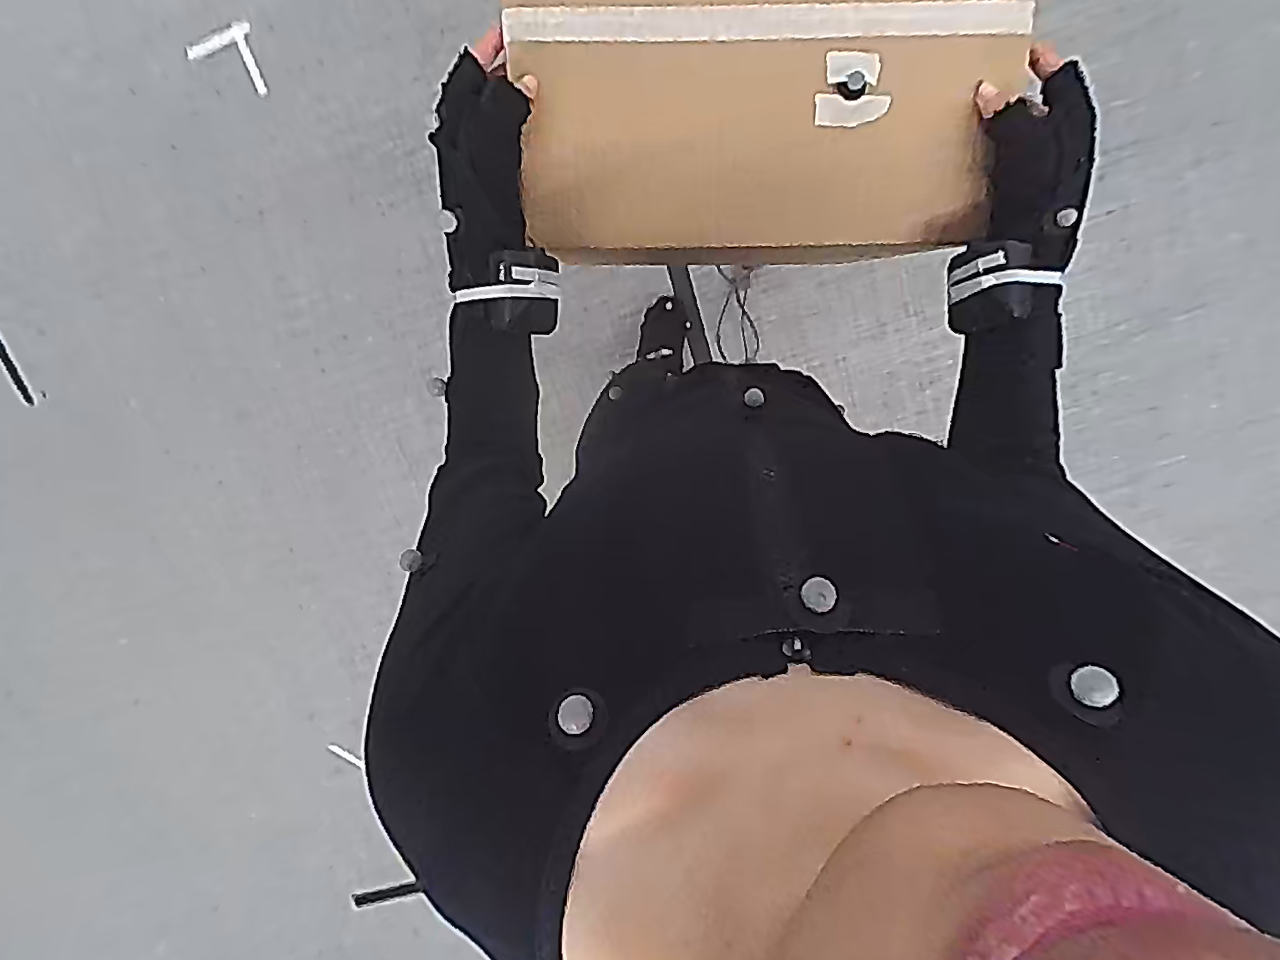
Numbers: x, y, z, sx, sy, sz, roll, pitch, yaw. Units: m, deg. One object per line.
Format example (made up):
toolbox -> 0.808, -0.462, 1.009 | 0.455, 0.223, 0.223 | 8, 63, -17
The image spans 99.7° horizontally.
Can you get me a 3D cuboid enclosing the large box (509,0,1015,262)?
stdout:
large box -> 0.091, -0.409, 0.566 | 0.408, 0.320, 0.320 | -1, 109, -1
